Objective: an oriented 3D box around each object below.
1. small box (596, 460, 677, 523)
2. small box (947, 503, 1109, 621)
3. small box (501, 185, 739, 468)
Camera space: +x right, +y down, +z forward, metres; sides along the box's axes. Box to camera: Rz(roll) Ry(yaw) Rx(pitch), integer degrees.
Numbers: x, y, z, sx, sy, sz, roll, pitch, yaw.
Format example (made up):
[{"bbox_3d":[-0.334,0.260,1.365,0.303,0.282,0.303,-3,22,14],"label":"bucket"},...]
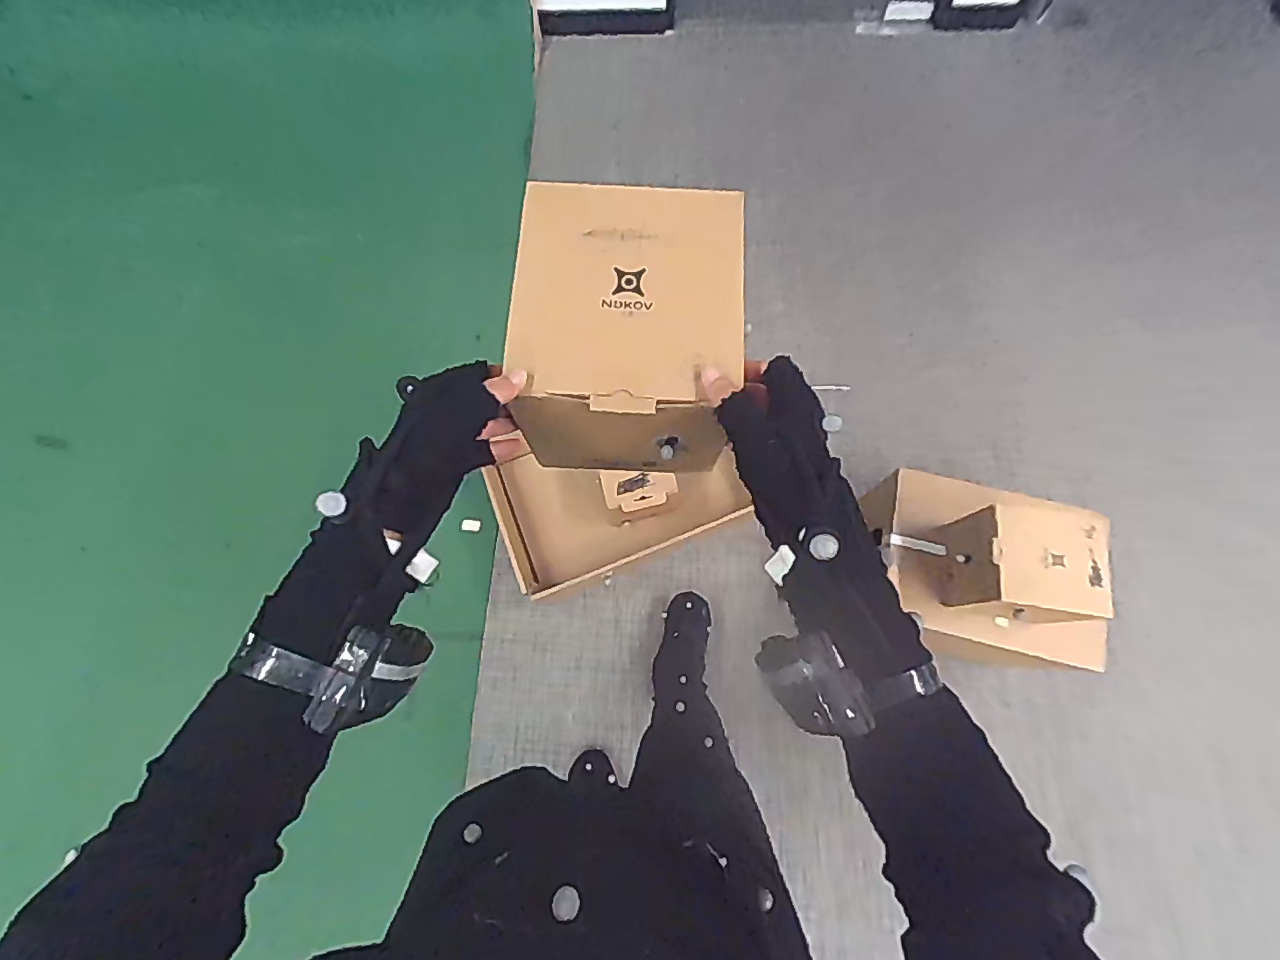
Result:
[{"bbox_3d":[-0.009,-0.006,1.299,0.168,0.176,0.179,-14,70,-2],"label":"small box"},{"bbox_3d":[0.664,0.151,0.950,0.179,0.176,0.168,8,73,5],"label":"small box"},{"bbox_3d":[-0.011,-0.116,0.466,0.168,0.176,0.179,3,73,-1],"label":"small box"}]
